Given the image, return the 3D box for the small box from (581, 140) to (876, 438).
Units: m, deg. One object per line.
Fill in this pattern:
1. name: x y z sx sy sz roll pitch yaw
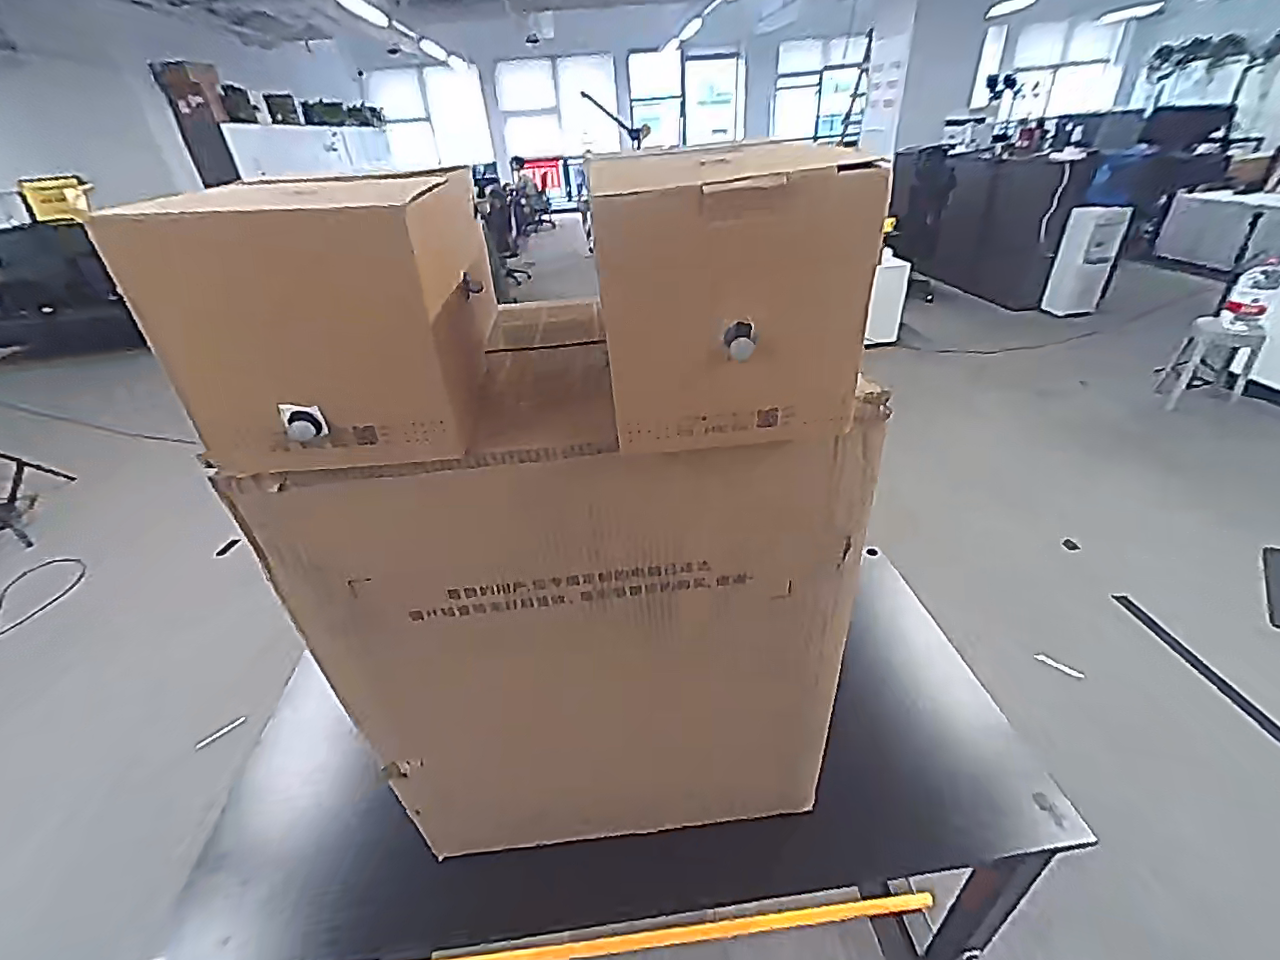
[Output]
1. small box: 0.052 -0.141 0.404 0.168 0.176 0.179 -7 35 -1

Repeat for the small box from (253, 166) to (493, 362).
1. small box: -0.260 -0.236 0.582 0.168 0.176 0.179 -7 31 -5
